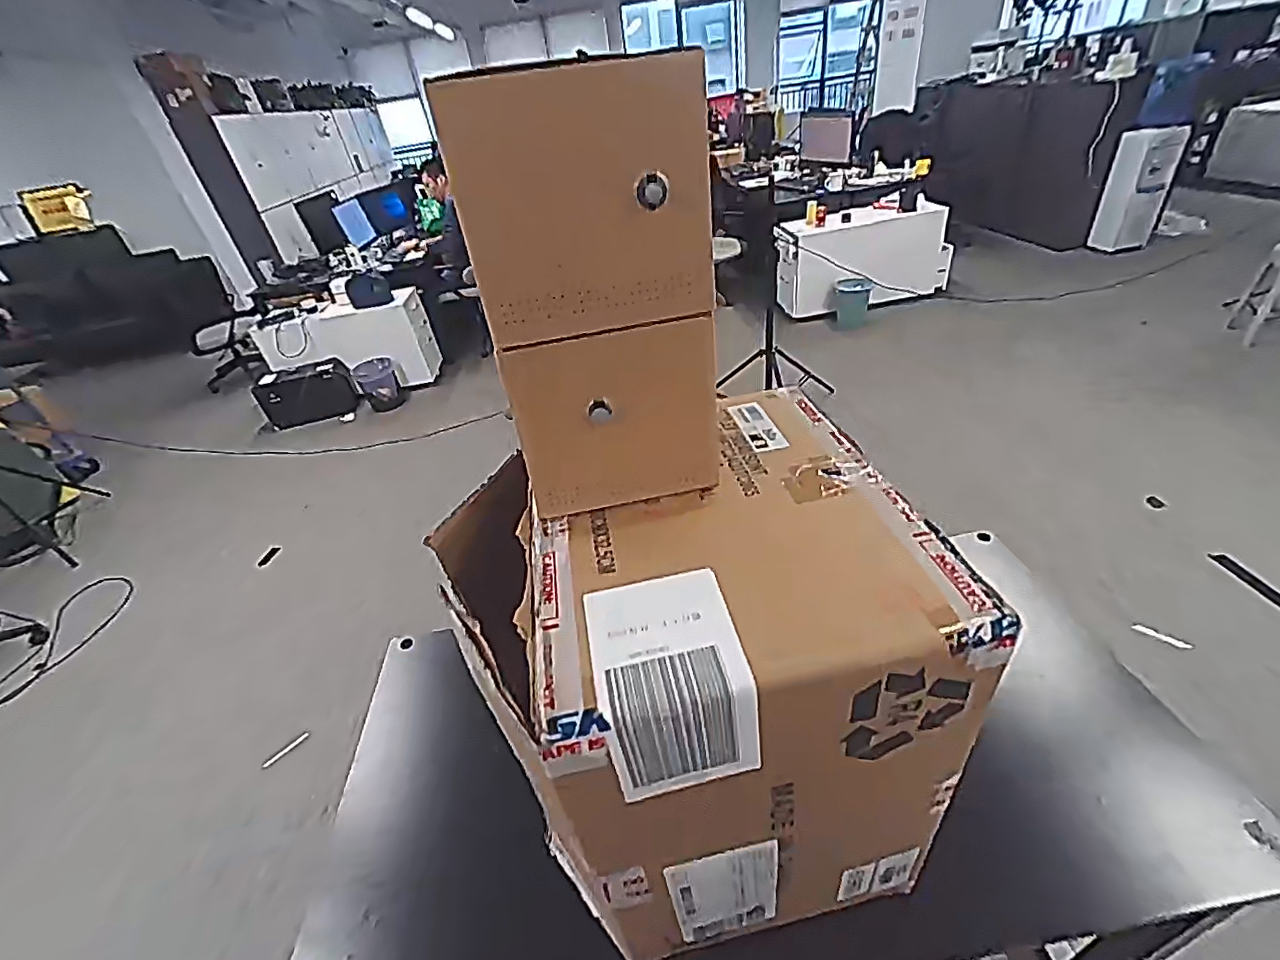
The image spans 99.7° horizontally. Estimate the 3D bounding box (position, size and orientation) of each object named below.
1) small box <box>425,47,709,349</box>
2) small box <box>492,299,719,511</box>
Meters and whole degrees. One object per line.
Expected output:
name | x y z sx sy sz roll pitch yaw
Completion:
small box | -0.049 -0.222 0.434 0.179 0.176 0.168 -13 33 -6
small box | -0.031 -0.089 0.528 0.179 0.176 0.168 -12 34 -4
